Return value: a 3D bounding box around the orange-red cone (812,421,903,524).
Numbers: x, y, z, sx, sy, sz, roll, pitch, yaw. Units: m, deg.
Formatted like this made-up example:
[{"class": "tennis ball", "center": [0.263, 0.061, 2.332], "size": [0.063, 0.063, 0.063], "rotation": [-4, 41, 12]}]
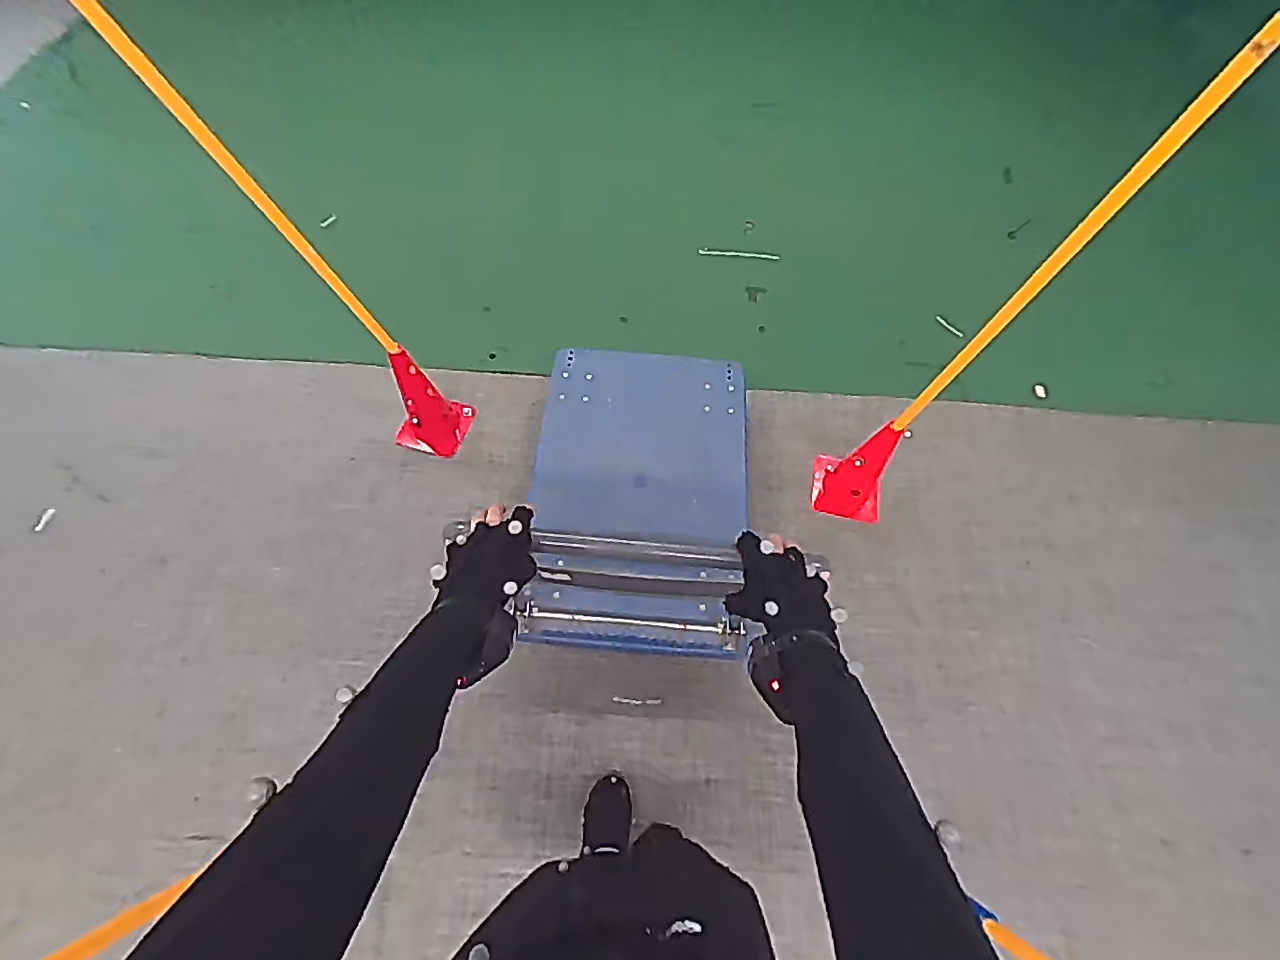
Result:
[{"class": "orange-red cone", "center": [0.636, -0.049, 1.502], "size": [0.198, 0.360, 0.199], "rotation": [13, 63, 6]}]
